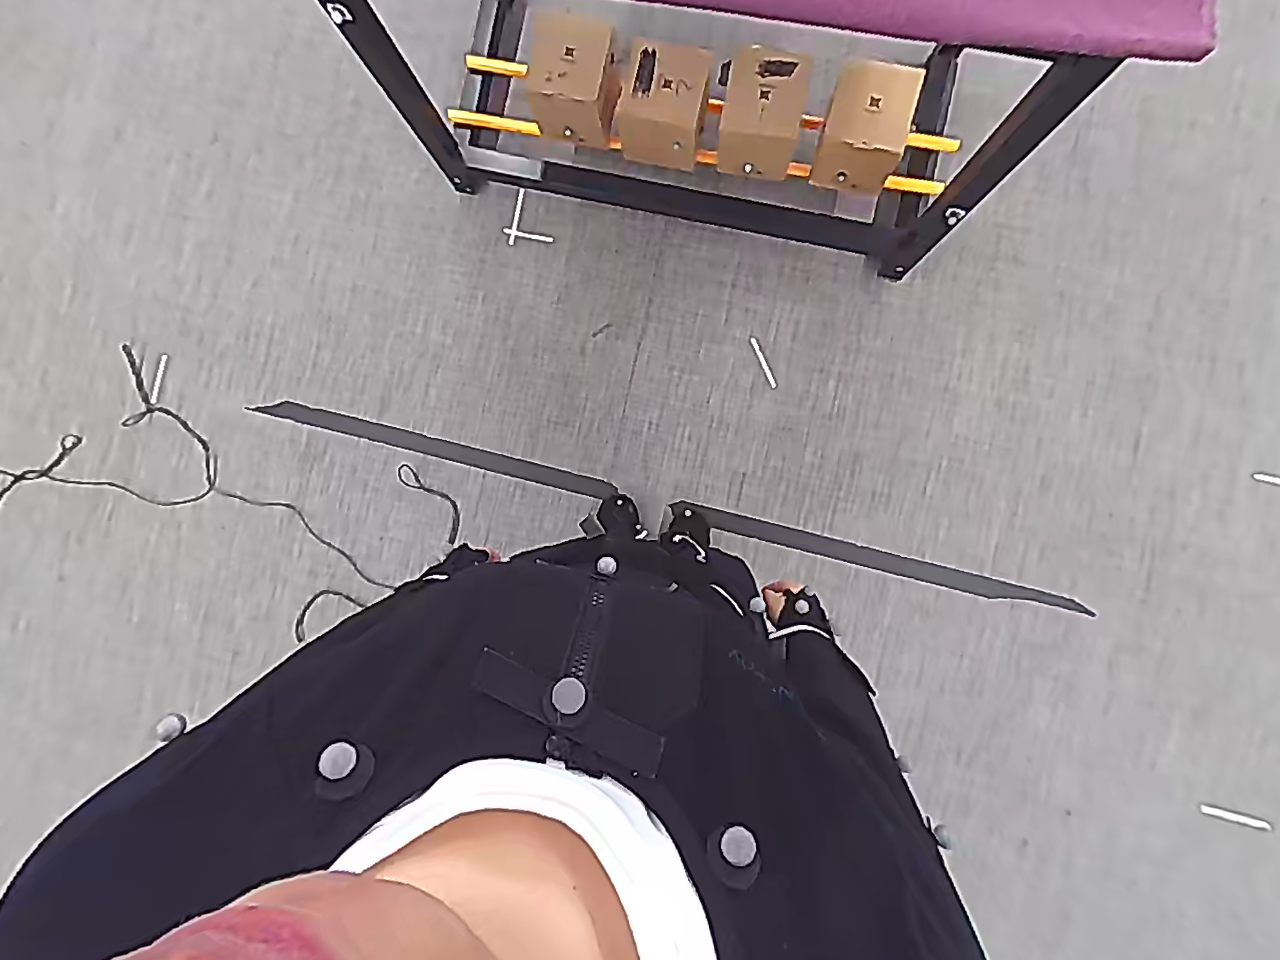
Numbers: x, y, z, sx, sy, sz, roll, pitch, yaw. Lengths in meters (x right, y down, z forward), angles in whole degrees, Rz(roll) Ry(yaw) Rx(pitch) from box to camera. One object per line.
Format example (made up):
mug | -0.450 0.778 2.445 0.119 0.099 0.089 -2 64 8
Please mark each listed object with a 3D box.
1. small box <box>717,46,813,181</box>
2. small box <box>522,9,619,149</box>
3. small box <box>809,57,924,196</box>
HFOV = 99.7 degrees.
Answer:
small box | 0.267 -0.802 1.196 0.168 0.176 0.179 11 92 5
small box | -0.149 -0.897 1.223 0.168 0.176 0.179 13 91 4
small box | 0.483 -0.761 1.177 0.168 0.176 0.179 15 92 5
